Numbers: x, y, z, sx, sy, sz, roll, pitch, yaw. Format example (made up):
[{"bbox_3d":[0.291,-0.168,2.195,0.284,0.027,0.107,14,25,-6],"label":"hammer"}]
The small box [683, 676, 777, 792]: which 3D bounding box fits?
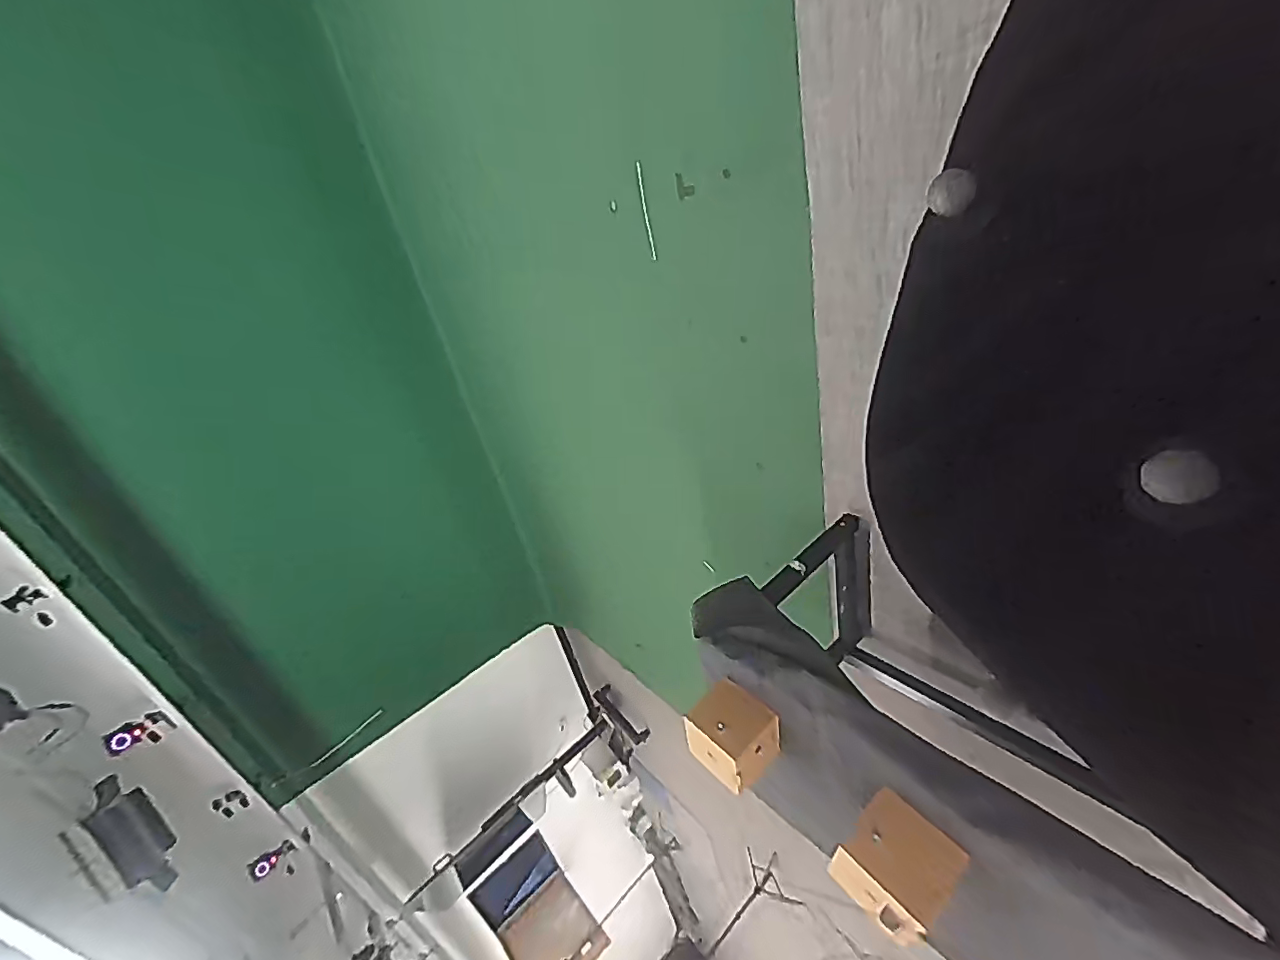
[{"bbox_3d":[0.237,0.646,1.398,0.179,0.176,0.168,28,138,43],"label":"small box"}]
